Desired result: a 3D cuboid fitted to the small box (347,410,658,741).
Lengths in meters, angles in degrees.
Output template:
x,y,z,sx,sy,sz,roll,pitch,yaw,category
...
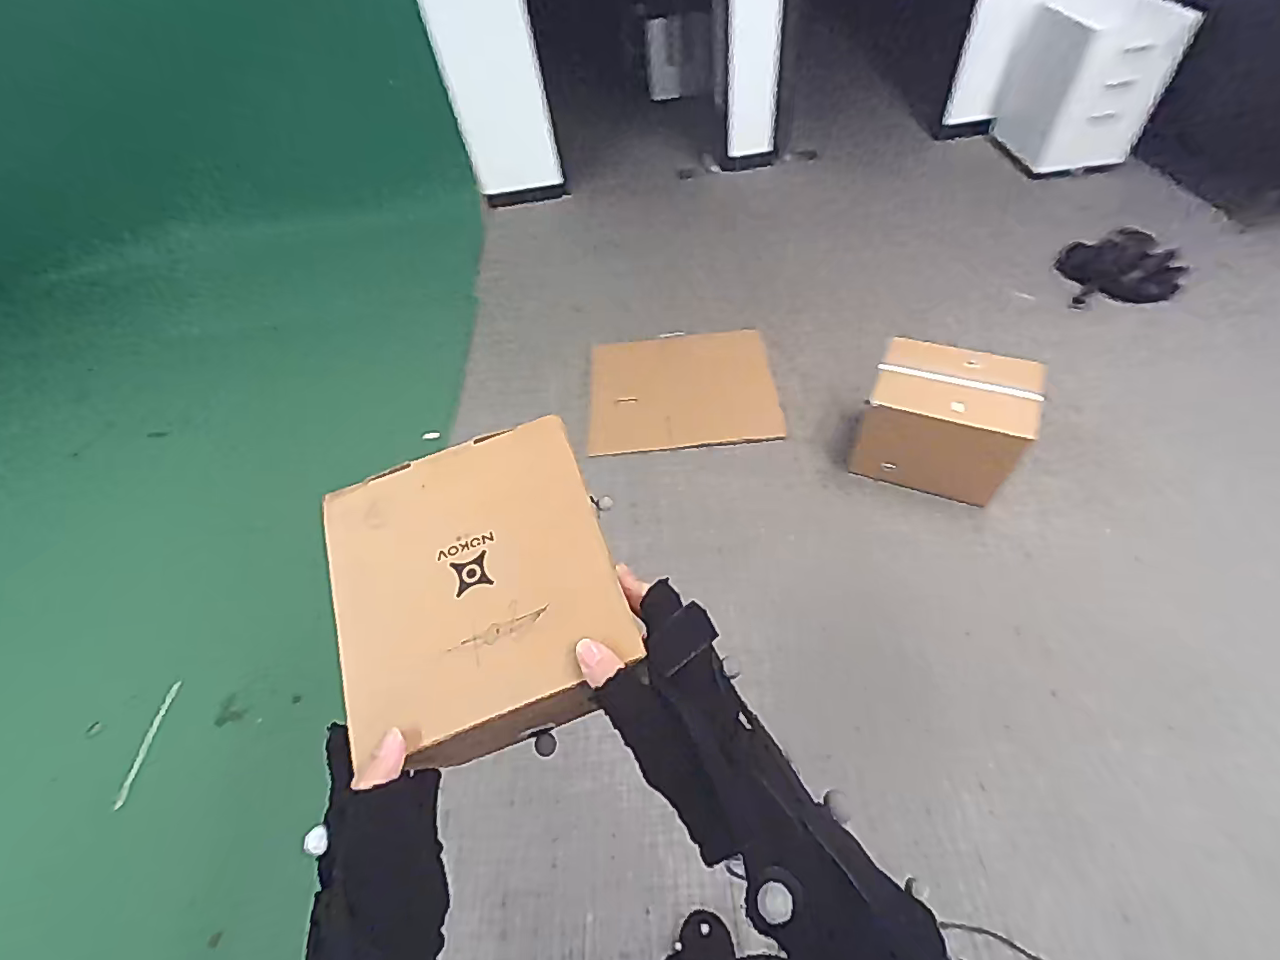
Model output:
x,y,z,sx,sy,sz,roll,pitch,yaw,category
-0.092,0.082,0.412,0.168,0.176,0.179,-20,64,-4,small box
